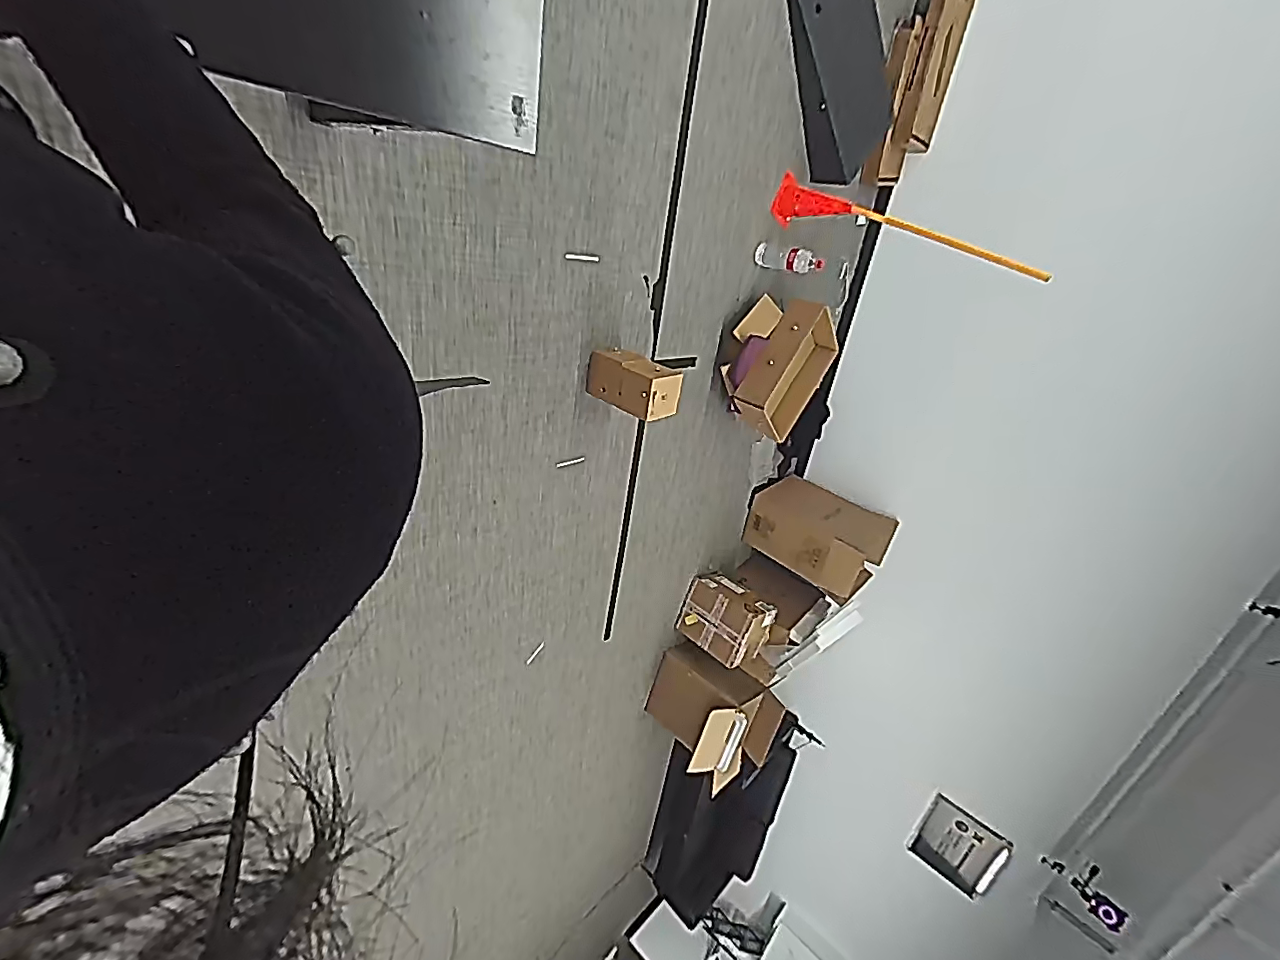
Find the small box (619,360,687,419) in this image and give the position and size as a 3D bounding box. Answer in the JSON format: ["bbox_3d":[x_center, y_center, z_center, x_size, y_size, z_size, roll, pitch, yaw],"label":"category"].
[{"bbox_3d":[0.048,-0.346,2.030,0.179,0.176,0.168,-22,130,-44],"label":"small box"}]

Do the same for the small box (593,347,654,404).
[{"bbox_3d":[-0.069,-0.414,2.124,0.168,0.176,0.179,-20,127,-45],"label":"small box"}]
